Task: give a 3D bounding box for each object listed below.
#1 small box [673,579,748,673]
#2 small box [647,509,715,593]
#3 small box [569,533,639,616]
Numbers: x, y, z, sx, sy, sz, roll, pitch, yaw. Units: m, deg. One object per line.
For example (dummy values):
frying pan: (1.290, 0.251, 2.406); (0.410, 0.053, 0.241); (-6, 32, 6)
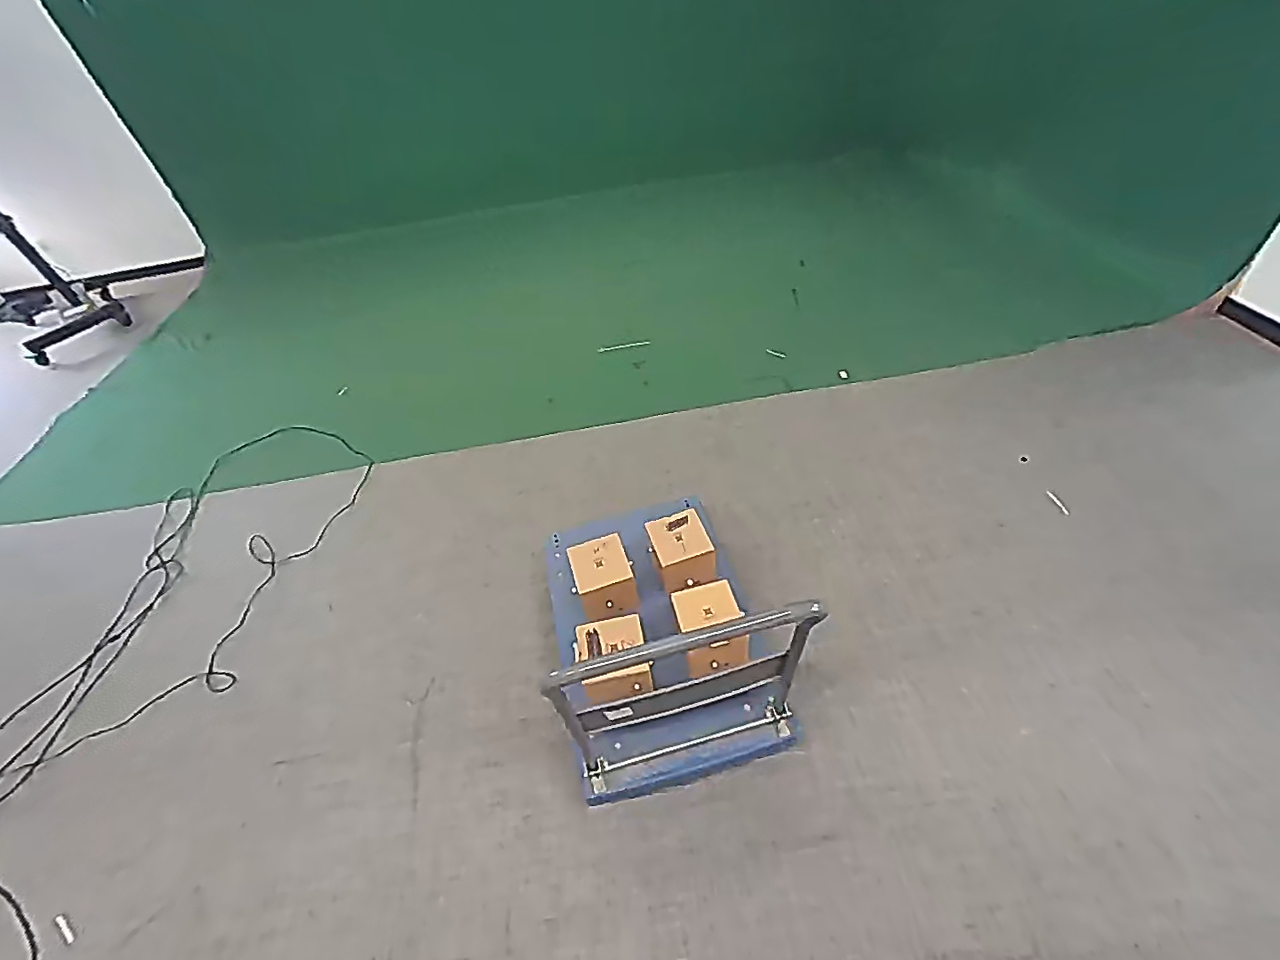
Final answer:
small box: (0.194, 0.411, 1.519); (0.168, 0.176, 0.179); (-14, 47, -4)
small box: (0.129, 0.225, 1.704); (0.168, 0.176, 0.179); (-18, 47, -7)
small box: (-0.109, 0.300, 1.672); (0.168, 0.176, 0.179); (-16, 46, -8)
